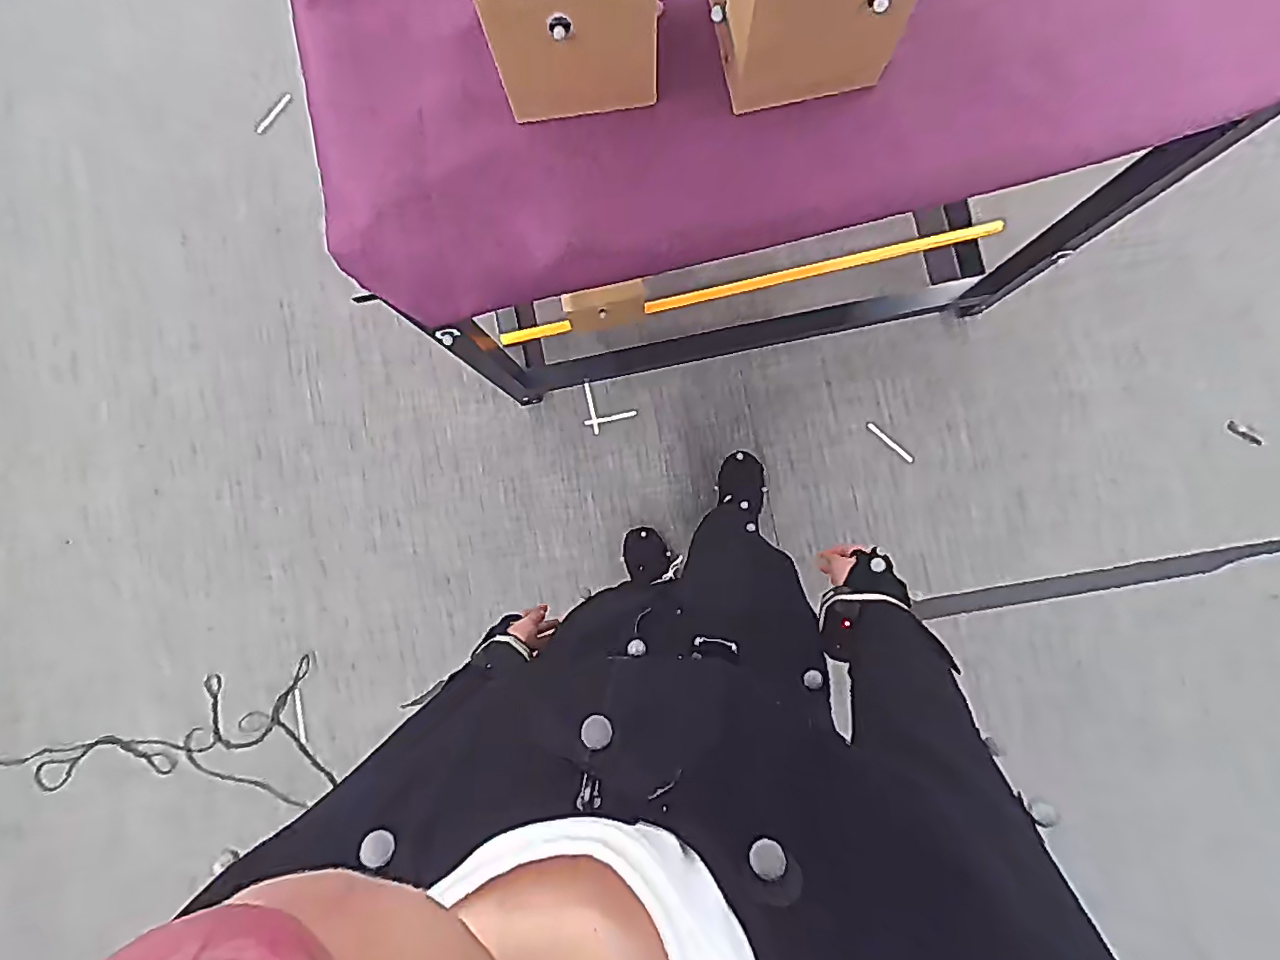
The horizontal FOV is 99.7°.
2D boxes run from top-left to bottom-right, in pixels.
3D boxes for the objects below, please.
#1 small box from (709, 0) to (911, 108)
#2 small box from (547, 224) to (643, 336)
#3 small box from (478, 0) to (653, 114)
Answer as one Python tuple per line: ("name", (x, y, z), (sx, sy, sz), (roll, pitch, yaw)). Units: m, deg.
("small box", (0.180, -0.546, 0.580), (0.179, 0.176, 0.168), (-11, 85, 1))
("small box", (-0.094, -0.438, 1.206), (0.179, 0.176, 0.168), (-12, 88, 1))
("small box", (-0.079, -0.536, 0.588), (0.179, 0.176, 0.168), (-7, 85, 0))
